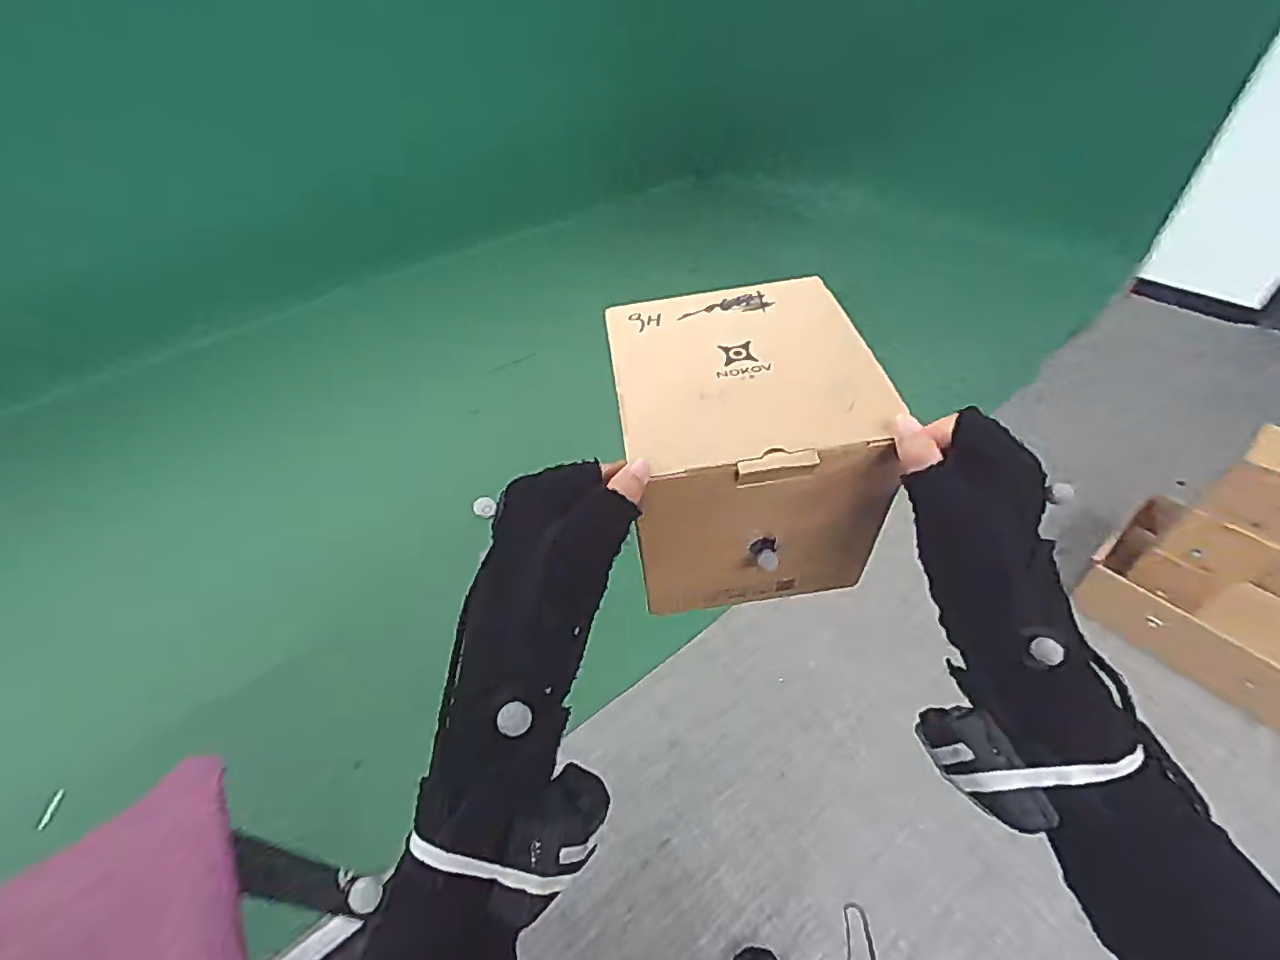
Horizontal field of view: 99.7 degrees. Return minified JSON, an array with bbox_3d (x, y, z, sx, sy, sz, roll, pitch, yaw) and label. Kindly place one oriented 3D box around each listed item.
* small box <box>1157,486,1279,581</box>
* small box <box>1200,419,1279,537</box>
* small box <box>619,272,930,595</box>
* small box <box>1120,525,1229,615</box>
[{"bbox_3d":[1.455,0.114,1.347,0.179,0.176,0.168,-32,52,-23],"label":"small box"},{"bbox_3d":[1.448,-0.002,1.233,0.179,0.176,0.168,-33,53,-24],"label":"small box"},{"bbox_3d":[0.079,-0.026,0.408,0.168,0.176,0.179,-7,51,0],"label":"small box"},{"bbox_3d":[1.465,0.227,1.464,0.179,0.176,0.168,-31,51,-22],"label":"small box"}]
